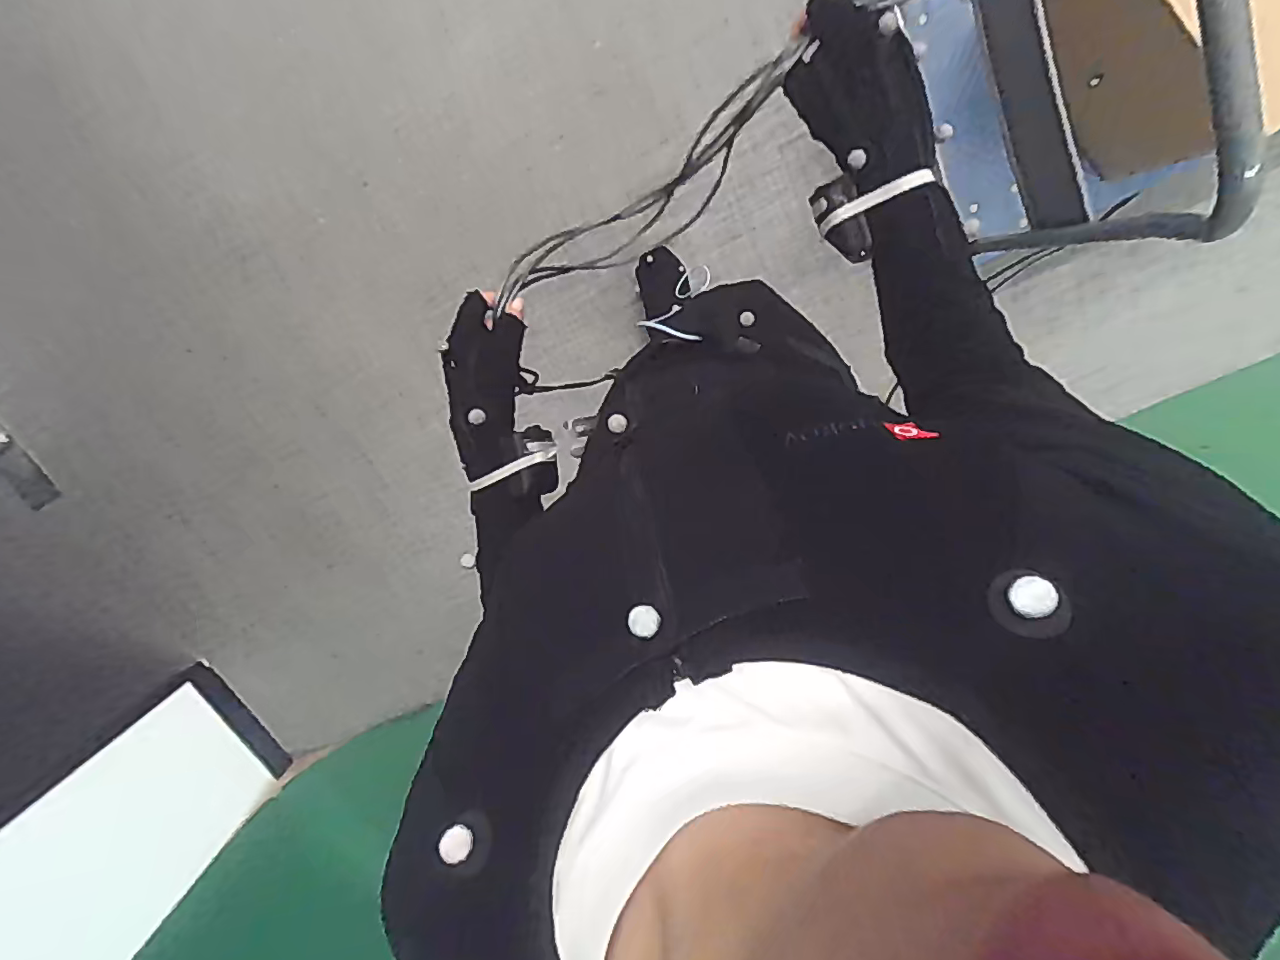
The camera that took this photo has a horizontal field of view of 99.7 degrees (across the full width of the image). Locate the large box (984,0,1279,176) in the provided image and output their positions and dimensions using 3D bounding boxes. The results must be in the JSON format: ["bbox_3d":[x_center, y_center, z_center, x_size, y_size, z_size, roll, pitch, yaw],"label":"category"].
[{"bbox_3d":[0.870,-0.777,0.857,0.408,0.320,0.320,42,106,-9],"label":"large box"}]
